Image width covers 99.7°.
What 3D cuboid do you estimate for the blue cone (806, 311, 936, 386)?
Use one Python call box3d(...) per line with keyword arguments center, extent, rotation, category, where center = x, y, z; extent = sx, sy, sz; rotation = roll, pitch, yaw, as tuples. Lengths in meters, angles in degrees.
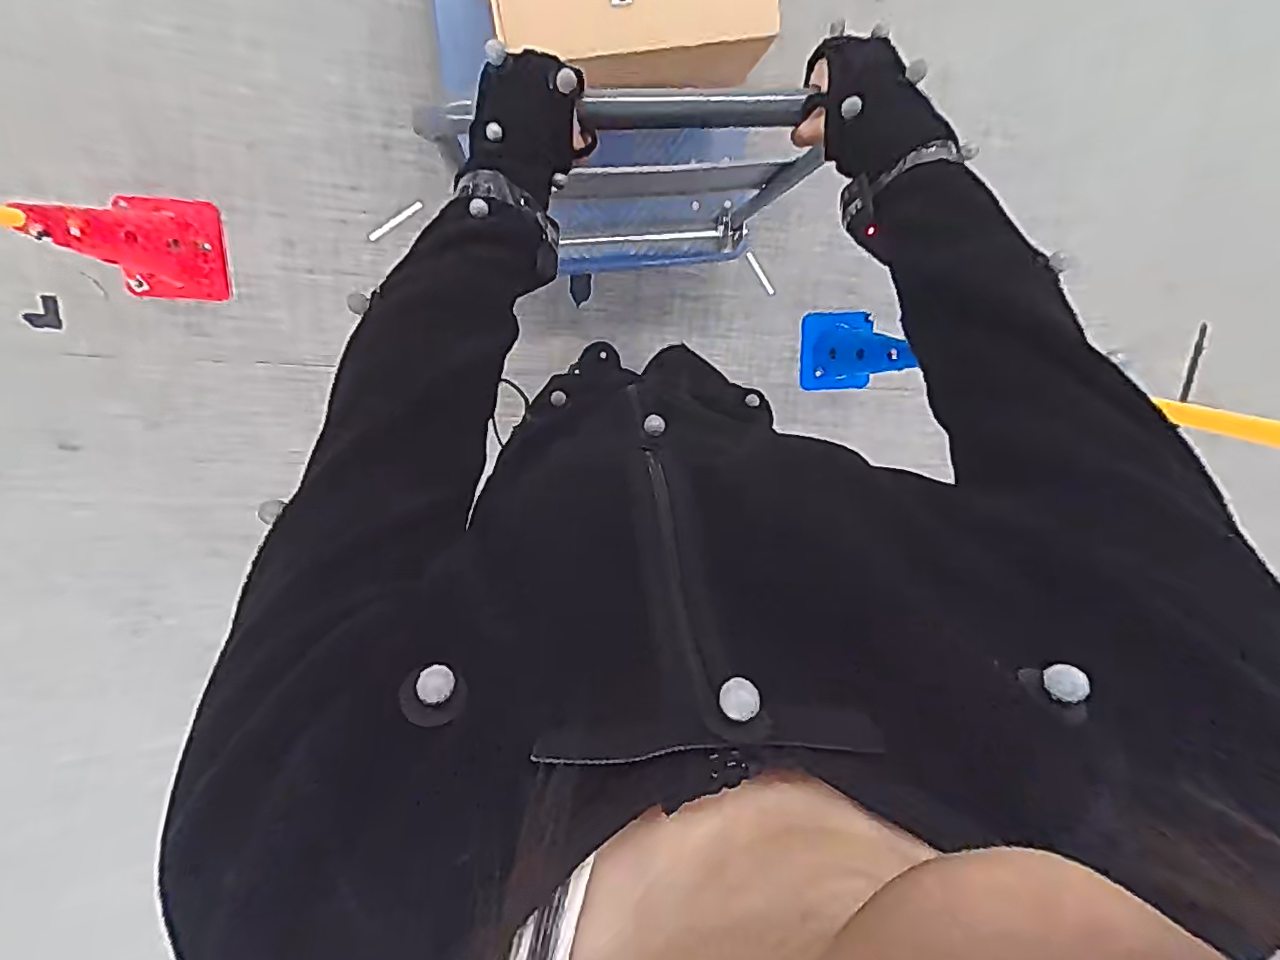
box3d(center=(0.555, -0.307, 1.272), extent=(0.193, 0.380, 0.192), rotation=(-3, 104, -9), category="blue cone")
